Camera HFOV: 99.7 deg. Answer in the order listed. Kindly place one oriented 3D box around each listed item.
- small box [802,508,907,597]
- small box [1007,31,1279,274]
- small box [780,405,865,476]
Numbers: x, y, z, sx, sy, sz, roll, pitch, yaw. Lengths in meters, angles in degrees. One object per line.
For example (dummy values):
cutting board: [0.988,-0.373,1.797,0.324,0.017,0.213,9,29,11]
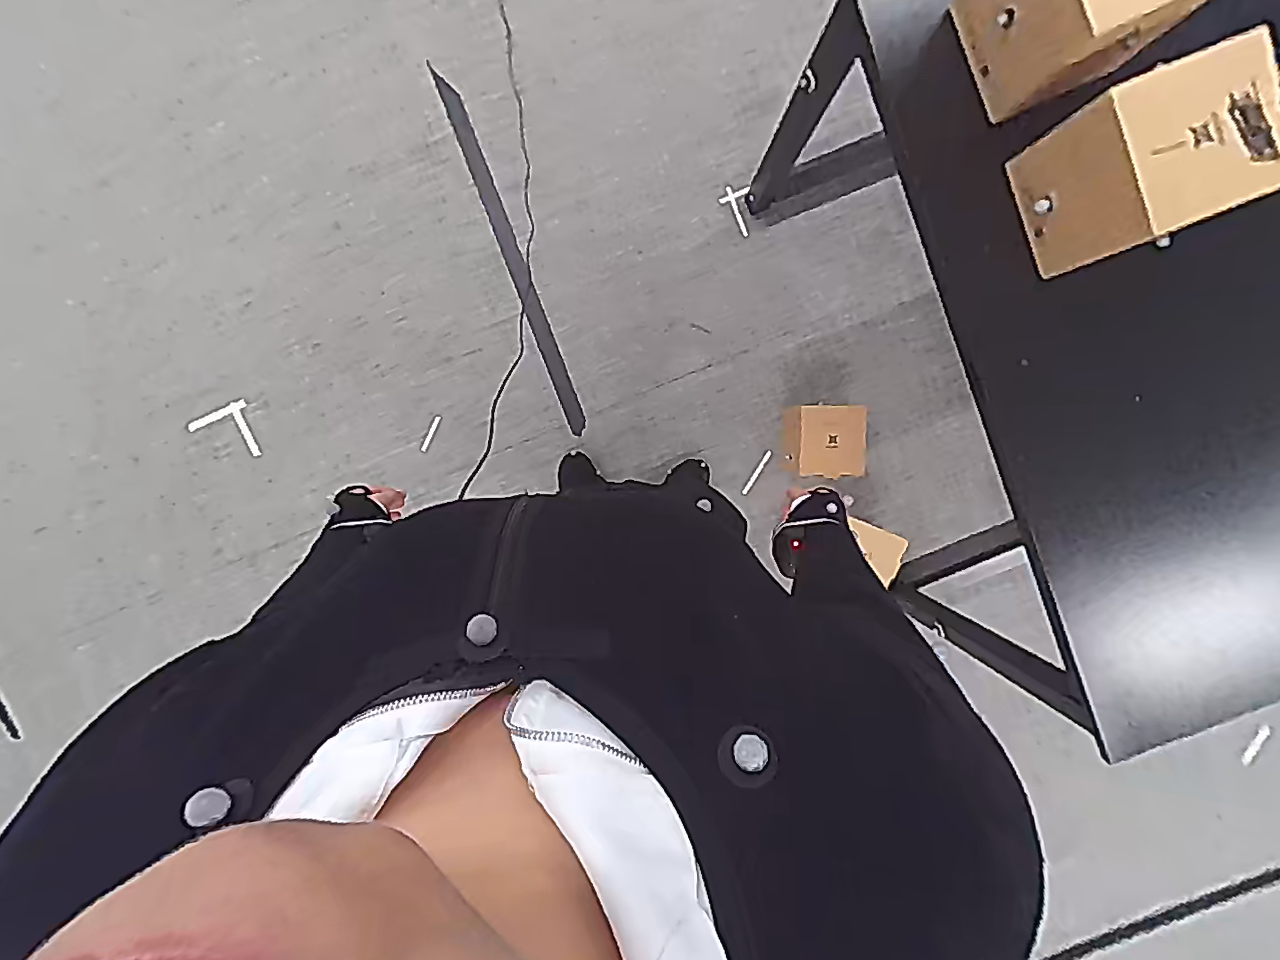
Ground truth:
small box: [0.562,0.185,1.437,0.179,0.176,0.168,22,94,-2]
small box: [0.605,-0.379,0.660,0.179,0.176,0.168,-21,95,2]
small box: [0.472,-0.105,1.416,0.168,0.176,0.179,-1,94,-1]
